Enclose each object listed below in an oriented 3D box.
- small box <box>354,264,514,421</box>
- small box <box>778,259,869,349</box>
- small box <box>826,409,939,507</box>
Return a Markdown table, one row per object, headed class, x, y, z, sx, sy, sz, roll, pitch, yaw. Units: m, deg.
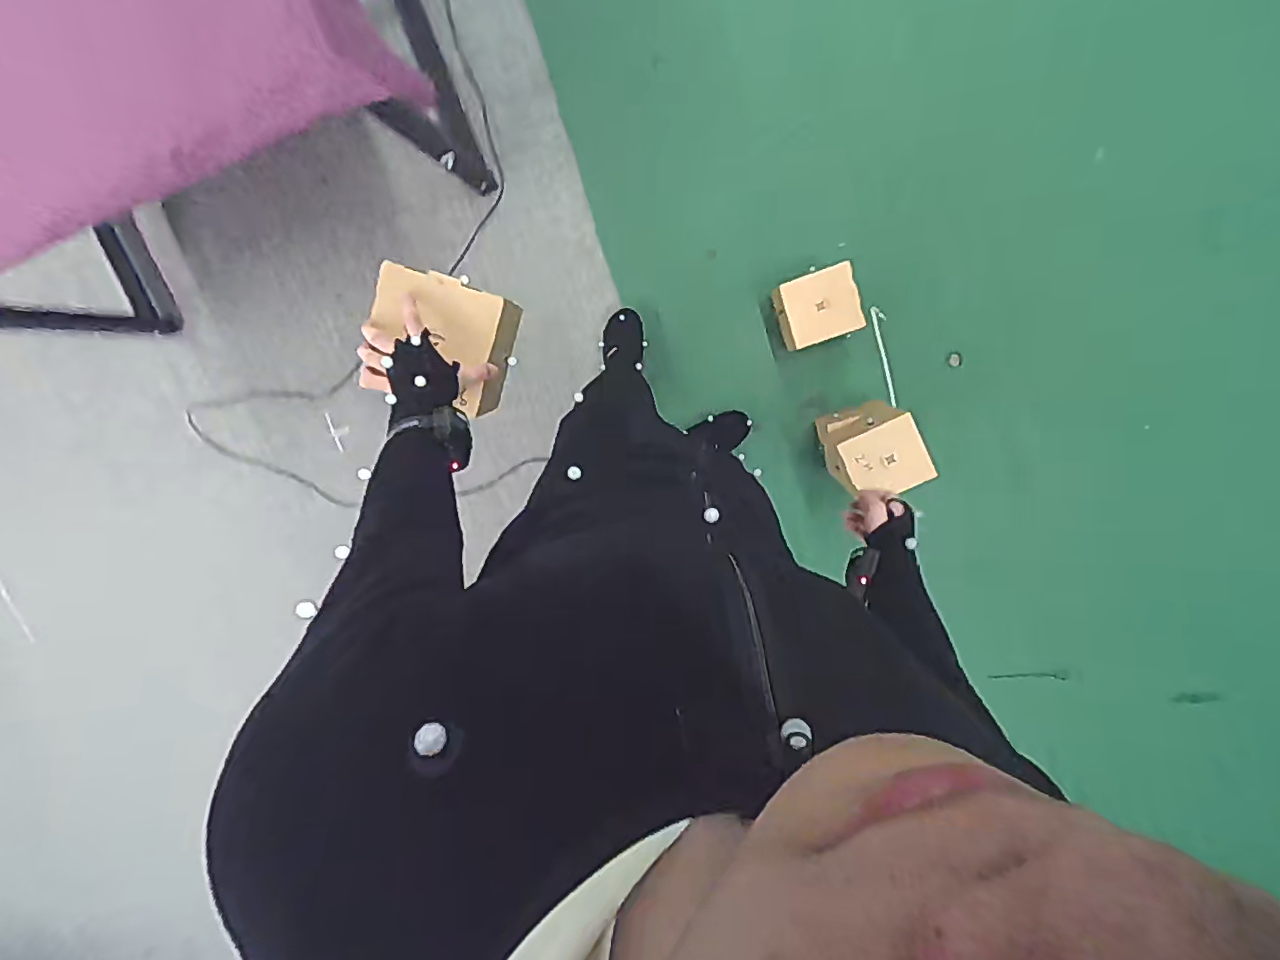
| class | x | y | z | sx | sy | sz | roll | pitch | yaw |
| --- | --- | --- | --- | --- | --- | --- | --- | --- | --- |
| small box | -0.298 | -0.201 | 0.819 | 0.168 | 0.176 | 0.179 | 16 | 101 | -6 |
| small box | 0.463 | -0.444 | 1.395 | 0.179 | 0.176 | 0.168 | -17 | 100 | 10 |
| small box | 0.572 | -0.060 | 1.296 | 0.179 | 0.176 | 0.168 | -25 | 98 | 13 |
